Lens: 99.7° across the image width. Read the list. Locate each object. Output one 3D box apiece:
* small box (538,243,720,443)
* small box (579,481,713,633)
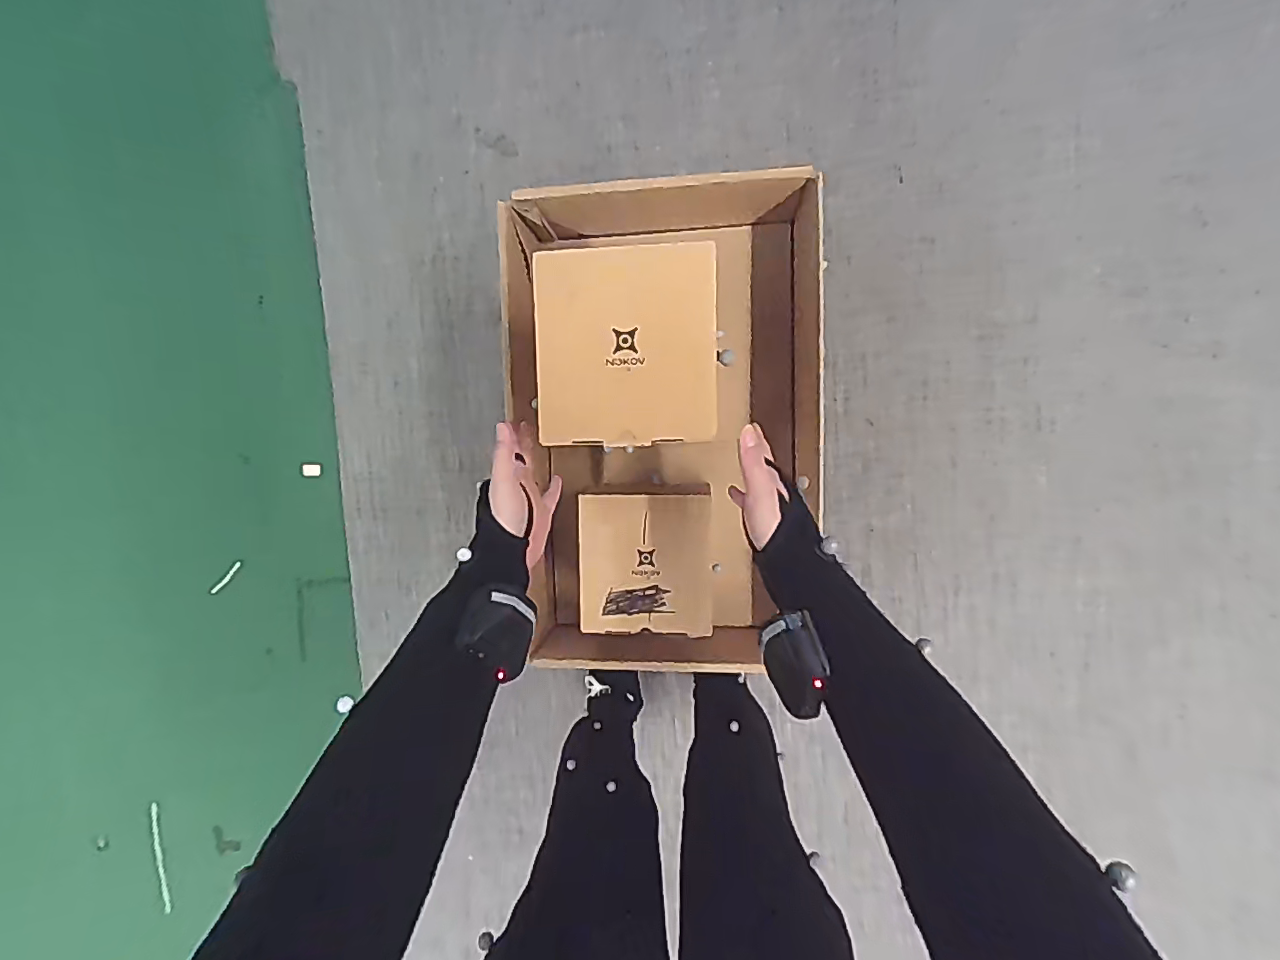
[{"bbox_3d":[-0.003,-0.129,0.566,0.168,0.176,0.179,-1,96,6],"label":"small box"},{"bbox_3d":[0.015,0.095,0.742,0.168,0.176,0.179,0,93,6],"label":"small box"}]
